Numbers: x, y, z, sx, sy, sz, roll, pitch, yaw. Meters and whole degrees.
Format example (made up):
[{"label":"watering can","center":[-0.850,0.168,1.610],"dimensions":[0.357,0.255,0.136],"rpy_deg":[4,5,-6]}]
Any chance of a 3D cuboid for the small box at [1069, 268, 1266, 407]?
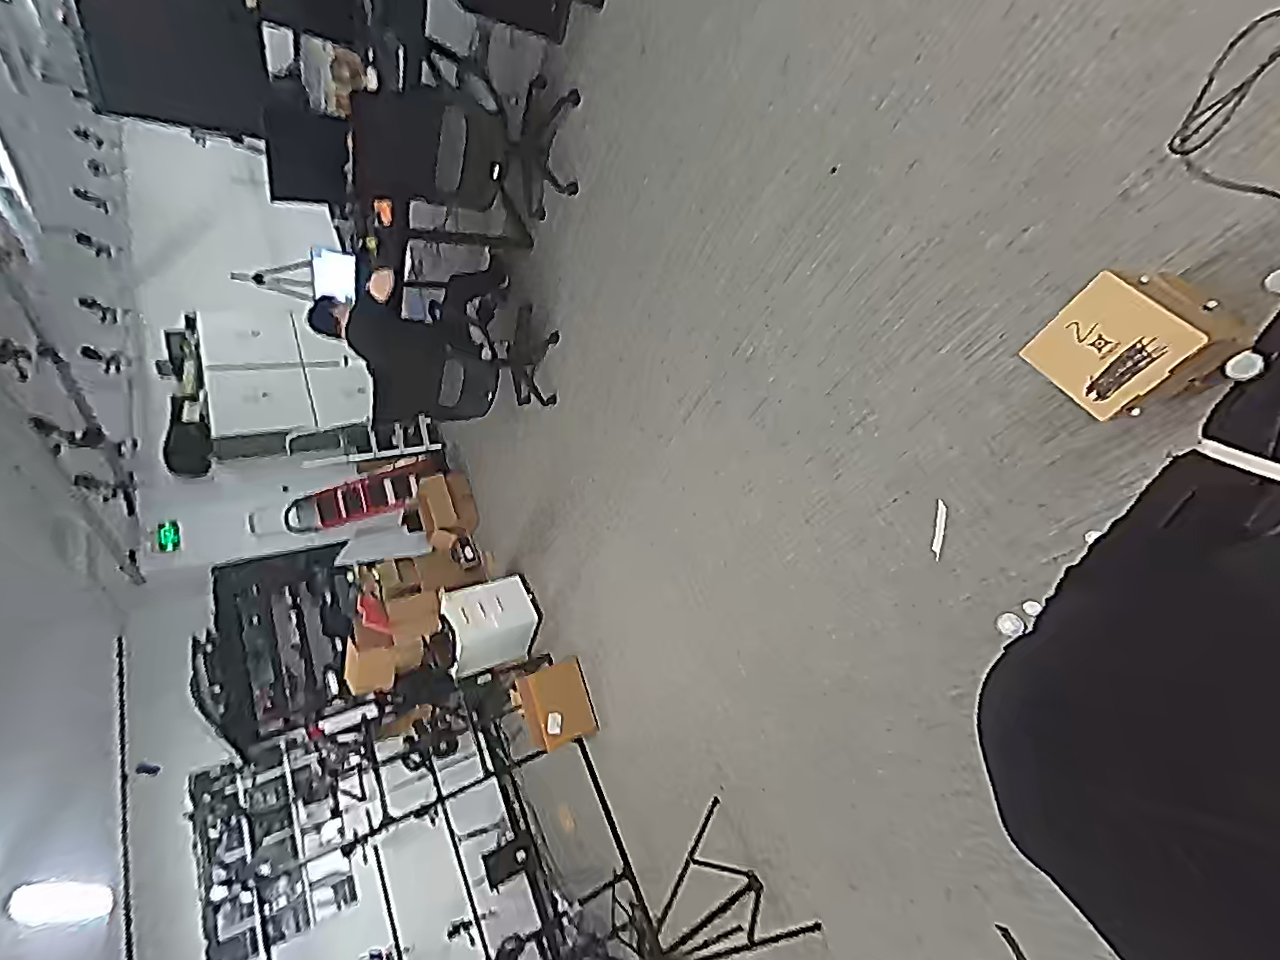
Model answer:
[{"label":"small box","center":[0.934,-0.254,0.960],"dimensions":[0.179,0.176,0.168],"rpy_deg":[62,144,24]}]
